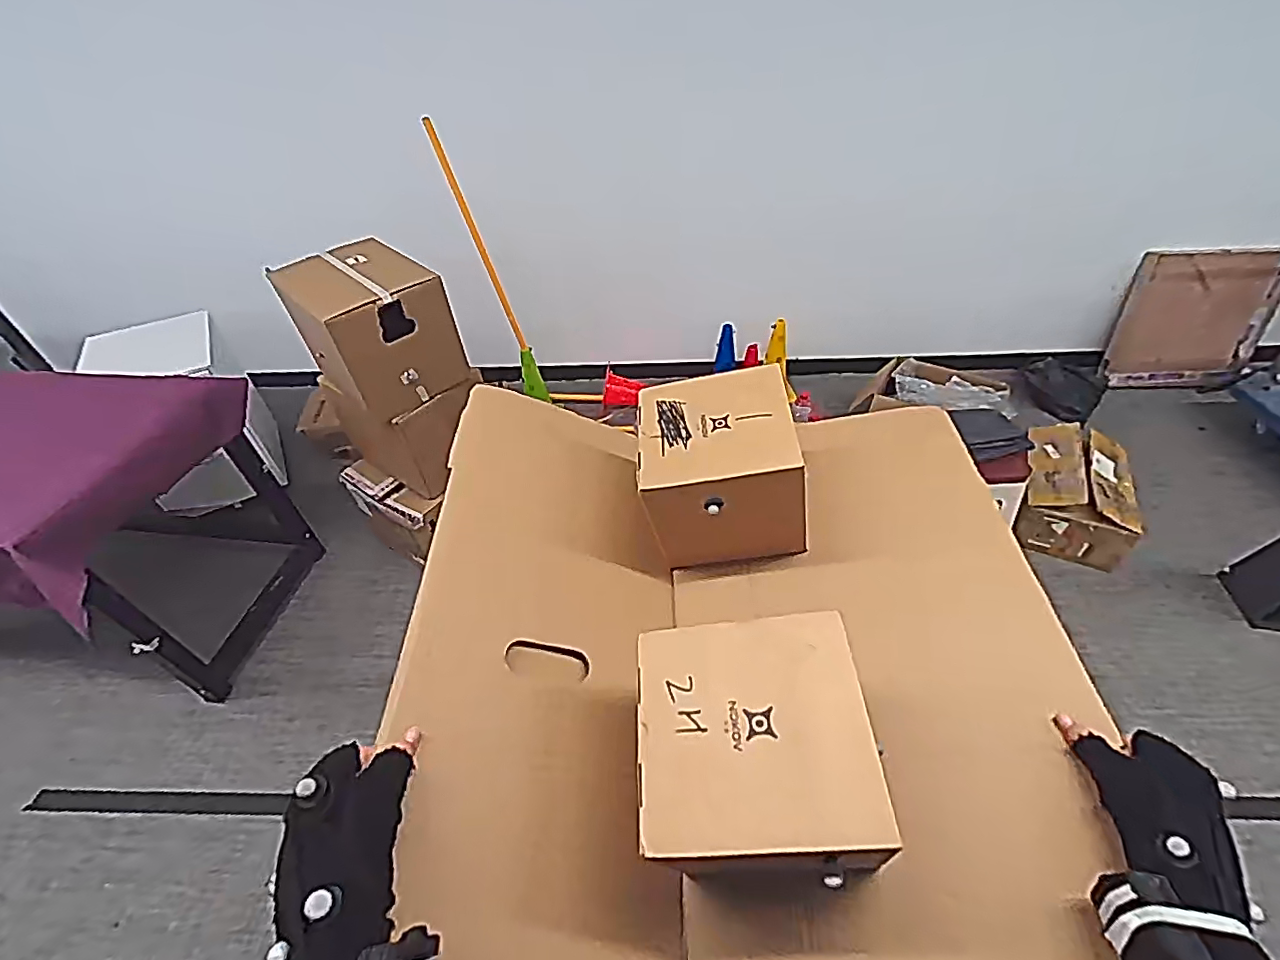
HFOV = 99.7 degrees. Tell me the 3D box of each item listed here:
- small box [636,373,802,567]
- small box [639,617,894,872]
[{"bbox_3d":[0.100,-0.005,0.681,0.179,0.176,0.168,-9,50,11],"label":"small box"},{"bbox_3d":[0.103,0.239,0.480,0.179,0.176,0.168,-10,49,12],"label":"small box"}]
